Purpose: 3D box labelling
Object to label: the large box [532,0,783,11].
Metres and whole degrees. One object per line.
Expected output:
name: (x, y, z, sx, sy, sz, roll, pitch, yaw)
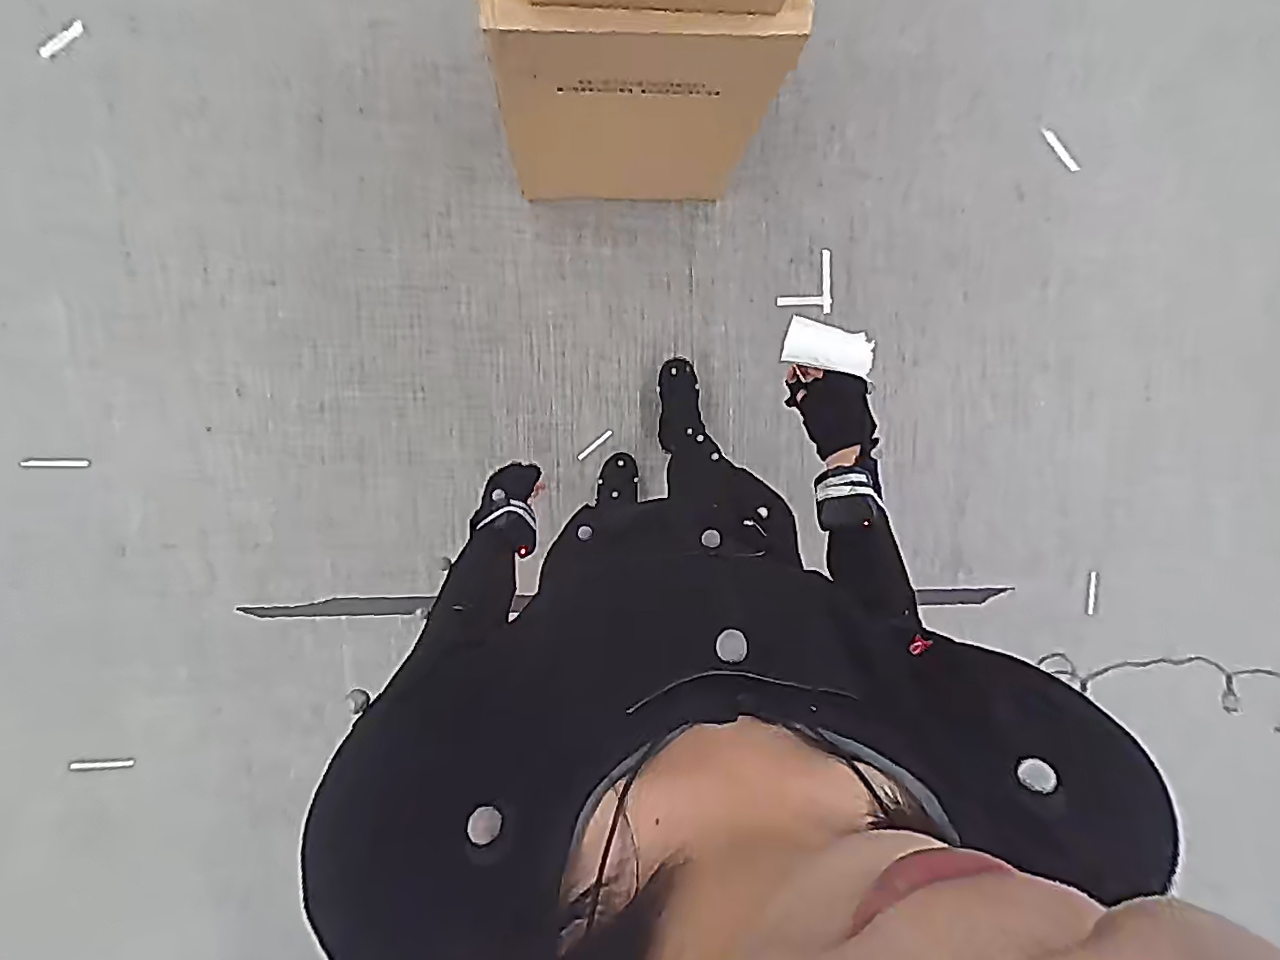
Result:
large box: (0.036, -0.876, 0.690, 0.408, 0.320, 0.320, -3, 96, -6)
